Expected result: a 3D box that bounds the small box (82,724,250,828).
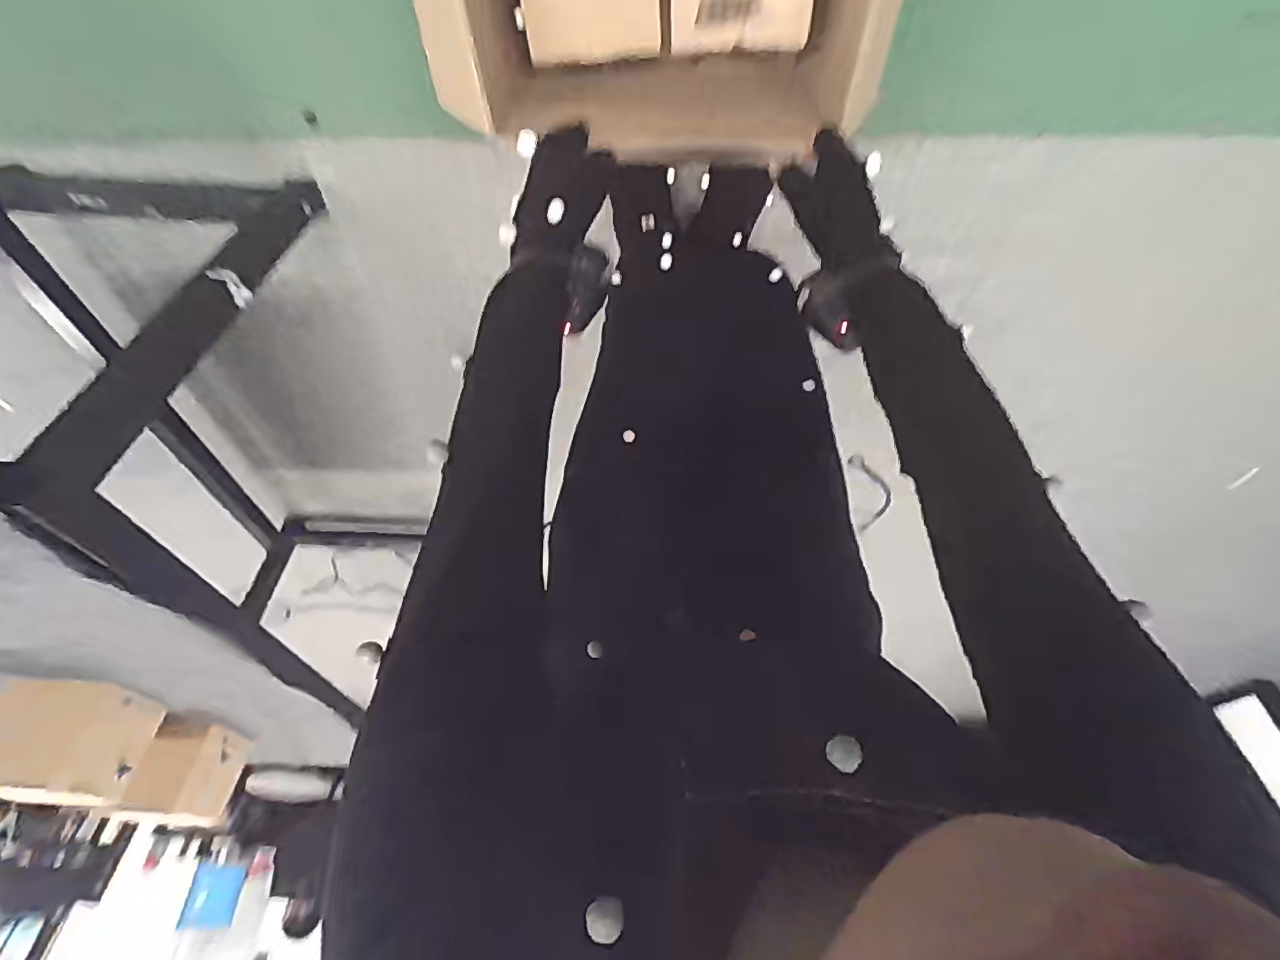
[{"bbox_3d":[-0.994,0.630,1.154,0.179,0.176,0.168,2,141,-1],"label":"small box"}]
